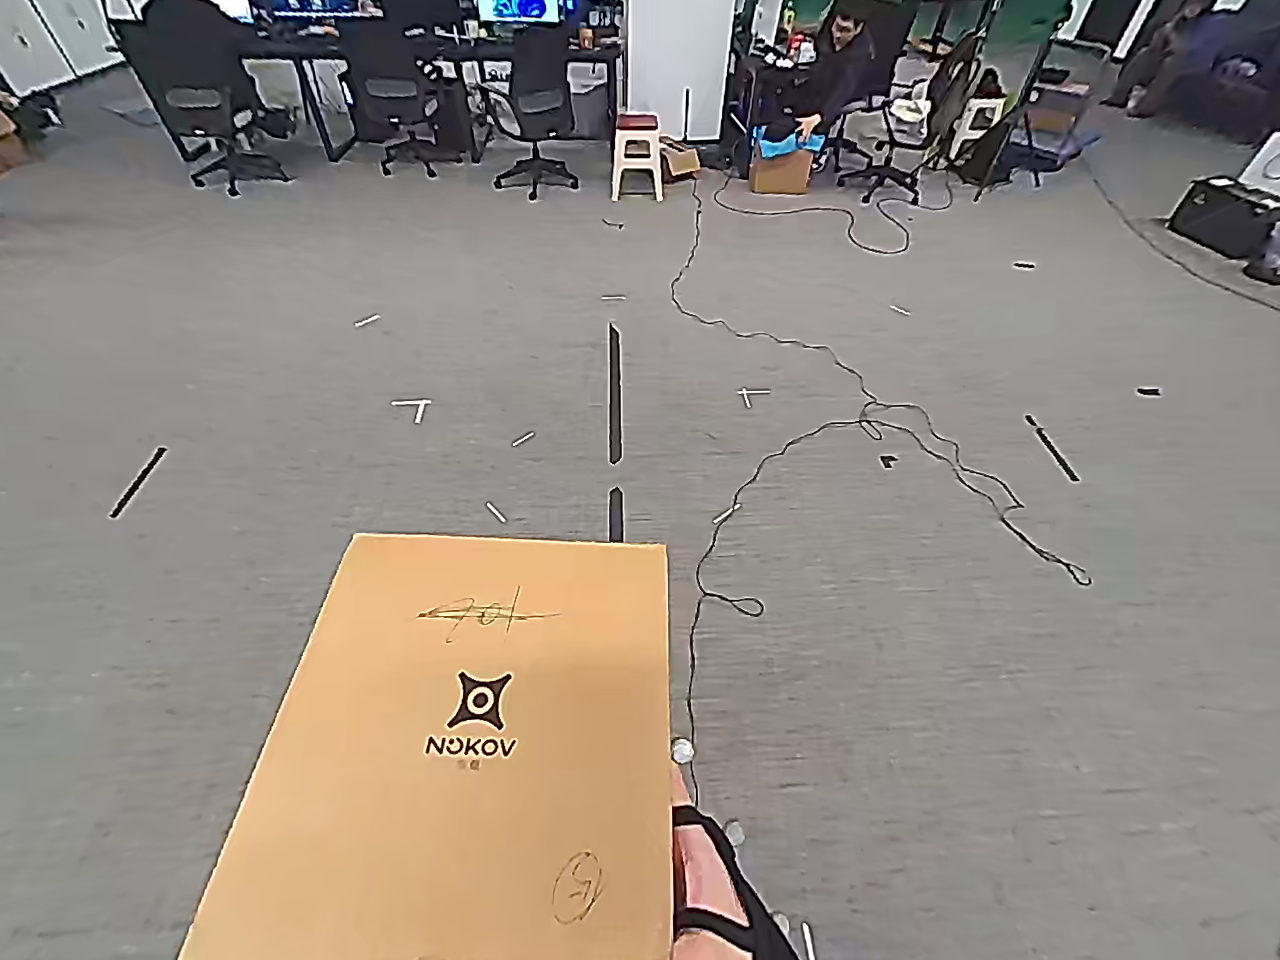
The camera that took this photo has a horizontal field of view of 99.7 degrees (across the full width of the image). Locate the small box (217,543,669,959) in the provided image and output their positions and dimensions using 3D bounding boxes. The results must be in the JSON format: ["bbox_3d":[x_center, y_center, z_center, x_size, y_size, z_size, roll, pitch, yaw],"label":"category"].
[{"bbox_3d":[-0.072,0.156,0.307,0.168,0.176,0.179,3,50,-3],"label":"small box"}]
